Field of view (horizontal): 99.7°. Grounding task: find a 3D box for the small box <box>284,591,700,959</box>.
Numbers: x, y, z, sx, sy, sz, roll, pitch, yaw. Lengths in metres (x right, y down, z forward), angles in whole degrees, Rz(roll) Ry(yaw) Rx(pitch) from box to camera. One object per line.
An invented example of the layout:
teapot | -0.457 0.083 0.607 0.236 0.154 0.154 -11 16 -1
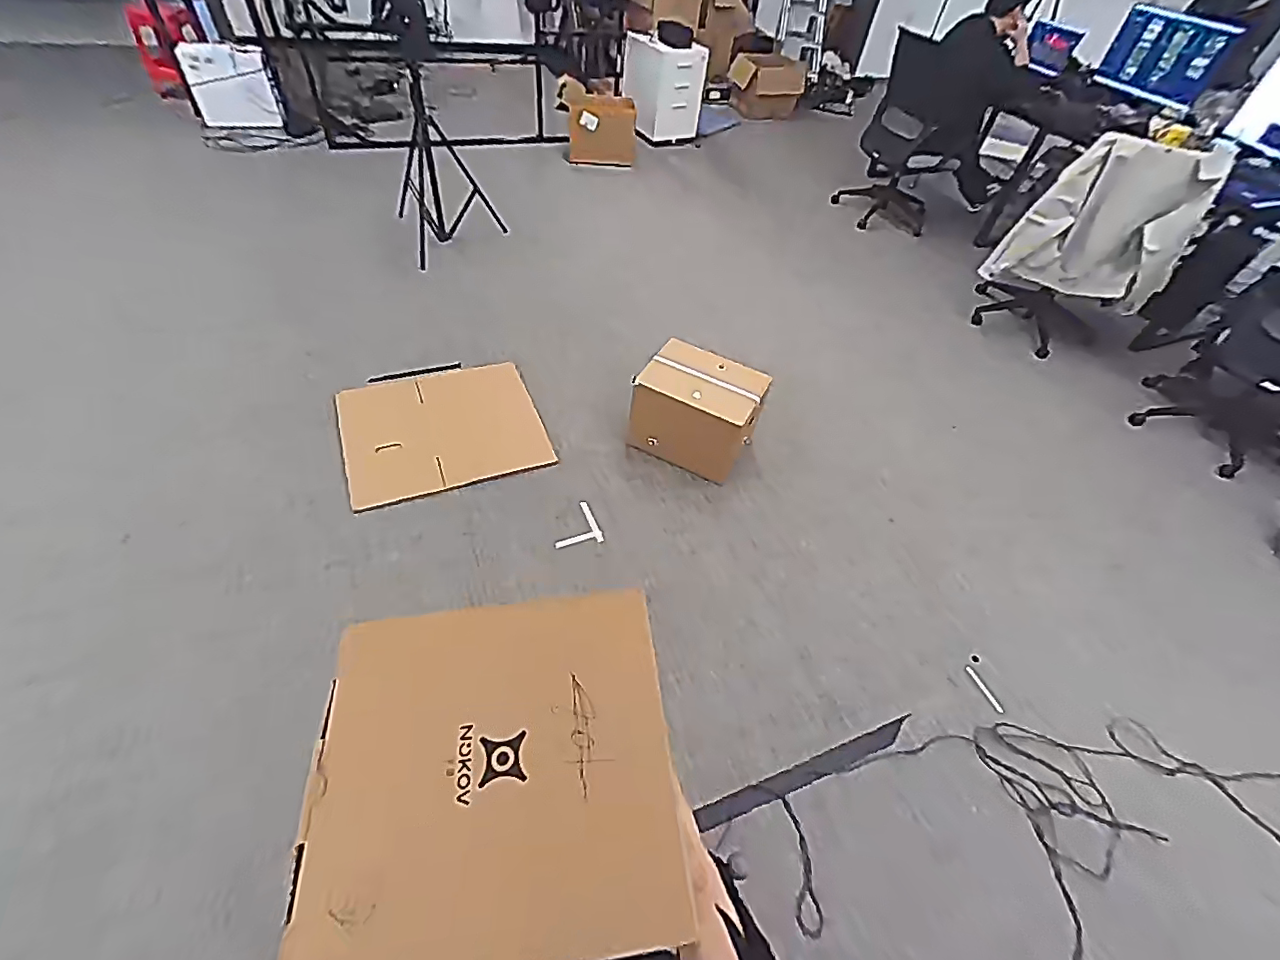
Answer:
small box | -0.071 0.188 0.332 0.179 0.176 0.168 -6 53 -7
